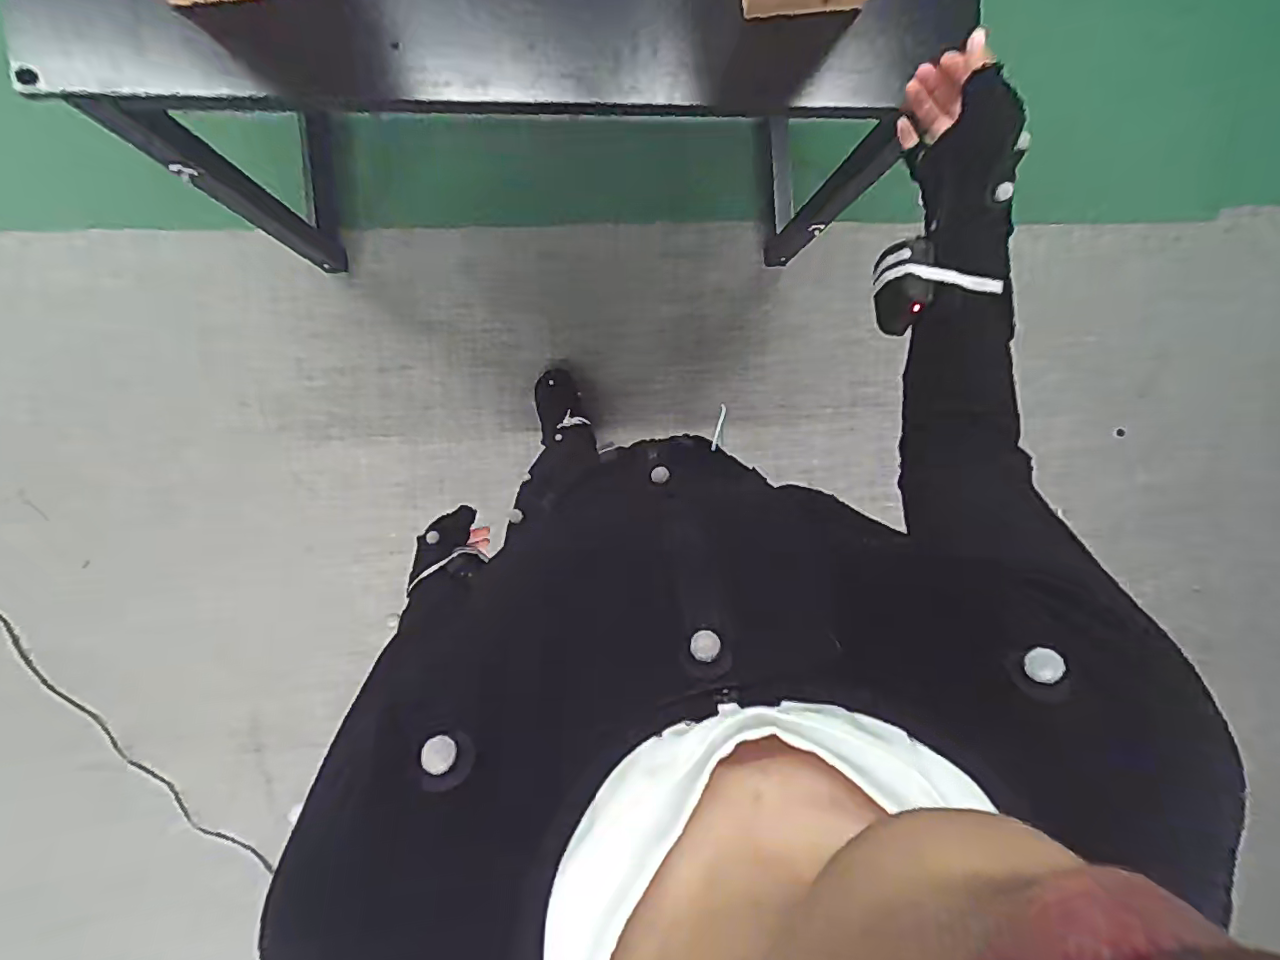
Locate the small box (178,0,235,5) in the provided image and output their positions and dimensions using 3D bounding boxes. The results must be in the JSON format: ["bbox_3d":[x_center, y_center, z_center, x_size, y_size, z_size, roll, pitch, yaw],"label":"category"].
[{"bbox_3d":[-0.484,-0.655,0.561,0.168,0.176,0.179,-12,96,-5],"label":"small box"}]
